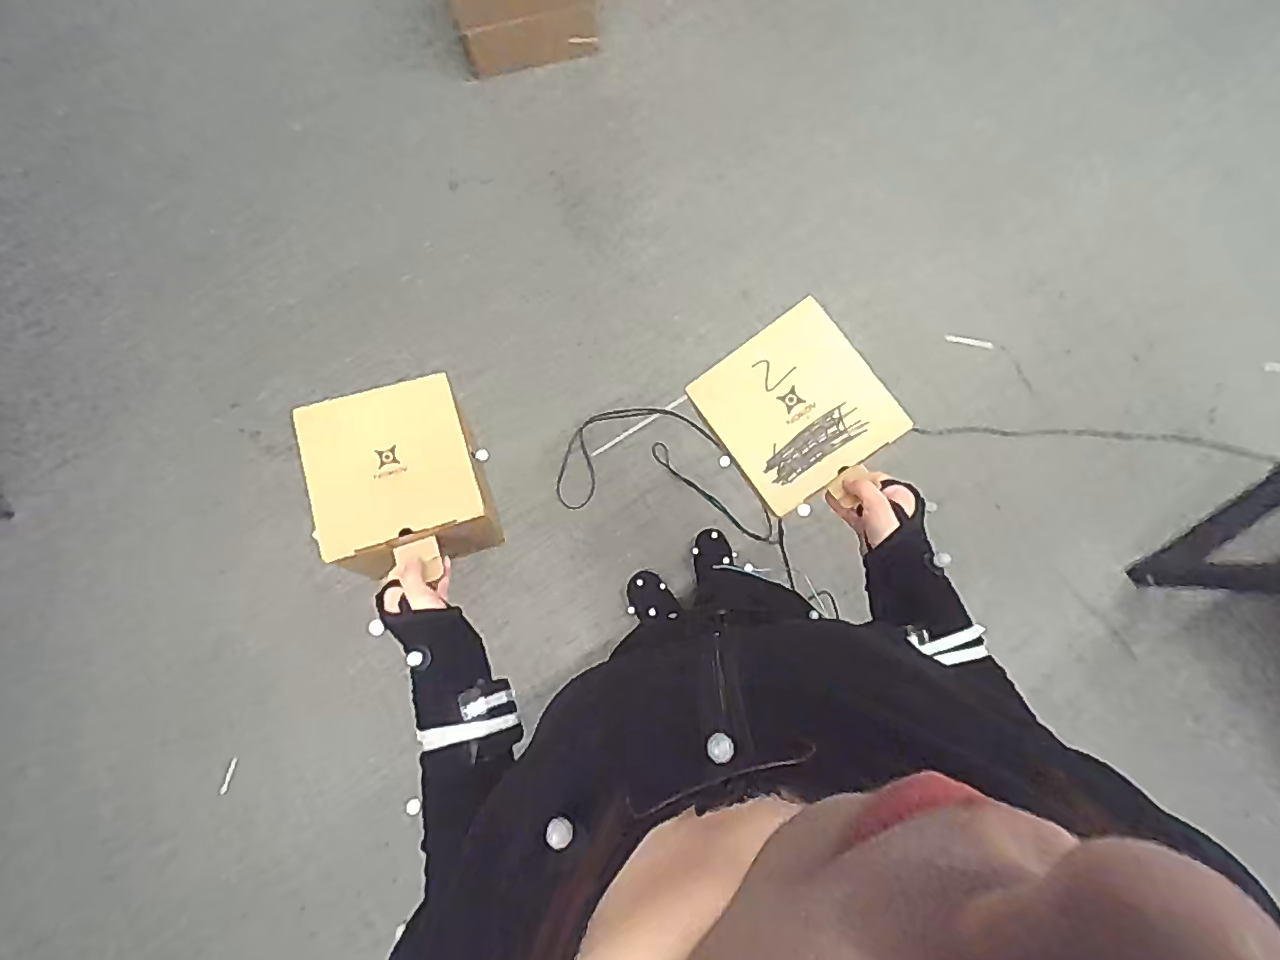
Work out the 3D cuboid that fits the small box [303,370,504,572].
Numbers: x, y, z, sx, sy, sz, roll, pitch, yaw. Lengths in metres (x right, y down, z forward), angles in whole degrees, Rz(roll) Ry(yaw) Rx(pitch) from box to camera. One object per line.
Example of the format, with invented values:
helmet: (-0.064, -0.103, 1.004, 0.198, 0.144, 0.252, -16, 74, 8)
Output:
small box: (-0.270, -0.003, 0.650, 0.168, 0.176, 0.179, -16, 77, -12)
